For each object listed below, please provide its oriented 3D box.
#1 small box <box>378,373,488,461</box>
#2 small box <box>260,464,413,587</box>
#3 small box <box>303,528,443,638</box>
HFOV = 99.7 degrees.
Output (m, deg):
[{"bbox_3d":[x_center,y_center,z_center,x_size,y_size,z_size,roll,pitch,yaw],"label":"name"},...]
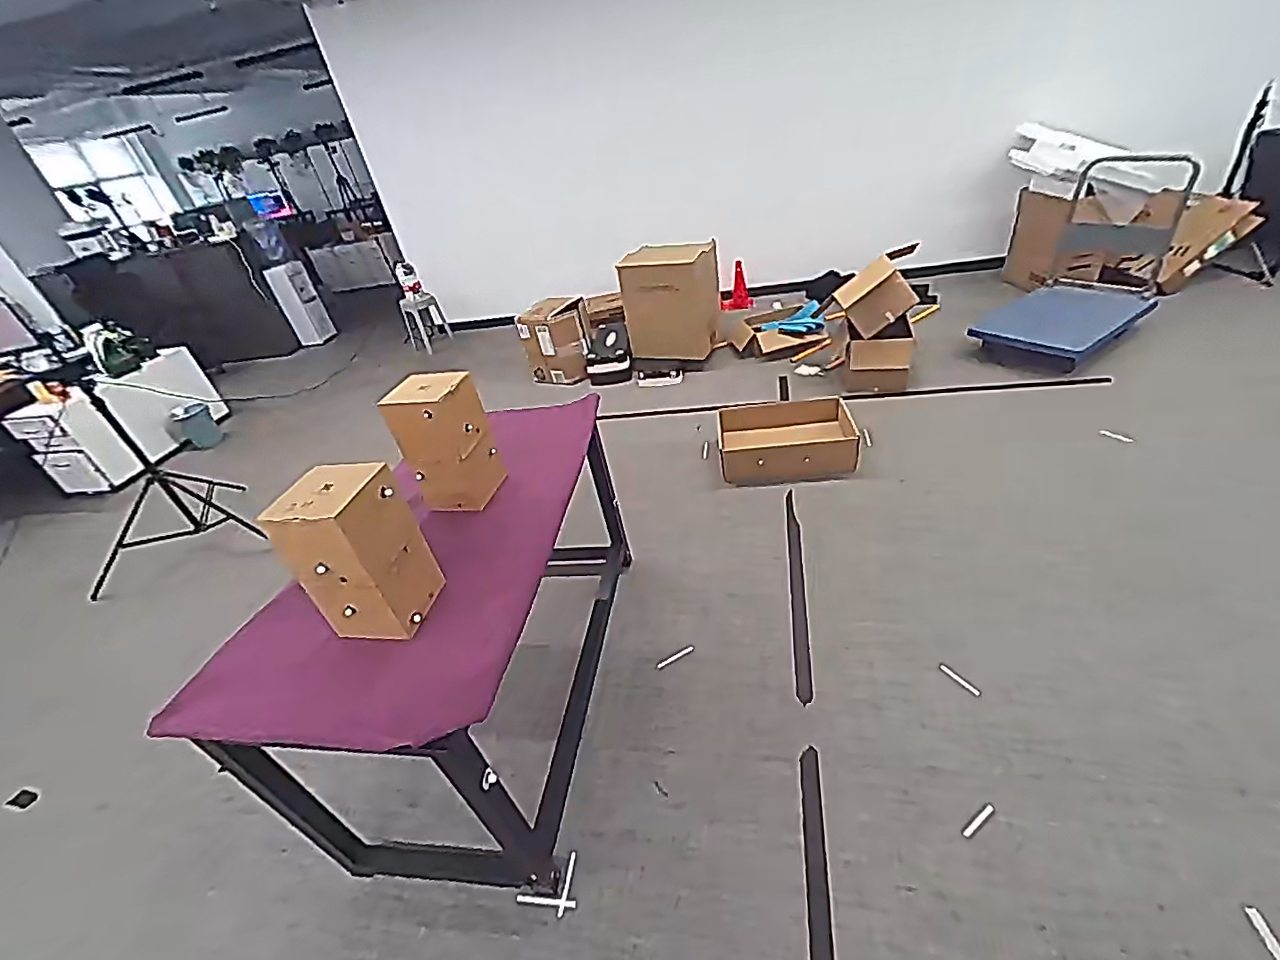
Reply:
[{"bbox_3d":[-0.521,-0.159,1.387,0.179,0.176,0.168,-1,36,15],"label":"small box"},{"bbox_3d":[-0.570,0.086,1.049,0.168,0.176,0.179,-3,35,12],"label":"small box"},{"bbox_3d":[-0.551,0.218,1.147,0.179,0.176,0.168,-3,35,13],"label":"small box"}]
